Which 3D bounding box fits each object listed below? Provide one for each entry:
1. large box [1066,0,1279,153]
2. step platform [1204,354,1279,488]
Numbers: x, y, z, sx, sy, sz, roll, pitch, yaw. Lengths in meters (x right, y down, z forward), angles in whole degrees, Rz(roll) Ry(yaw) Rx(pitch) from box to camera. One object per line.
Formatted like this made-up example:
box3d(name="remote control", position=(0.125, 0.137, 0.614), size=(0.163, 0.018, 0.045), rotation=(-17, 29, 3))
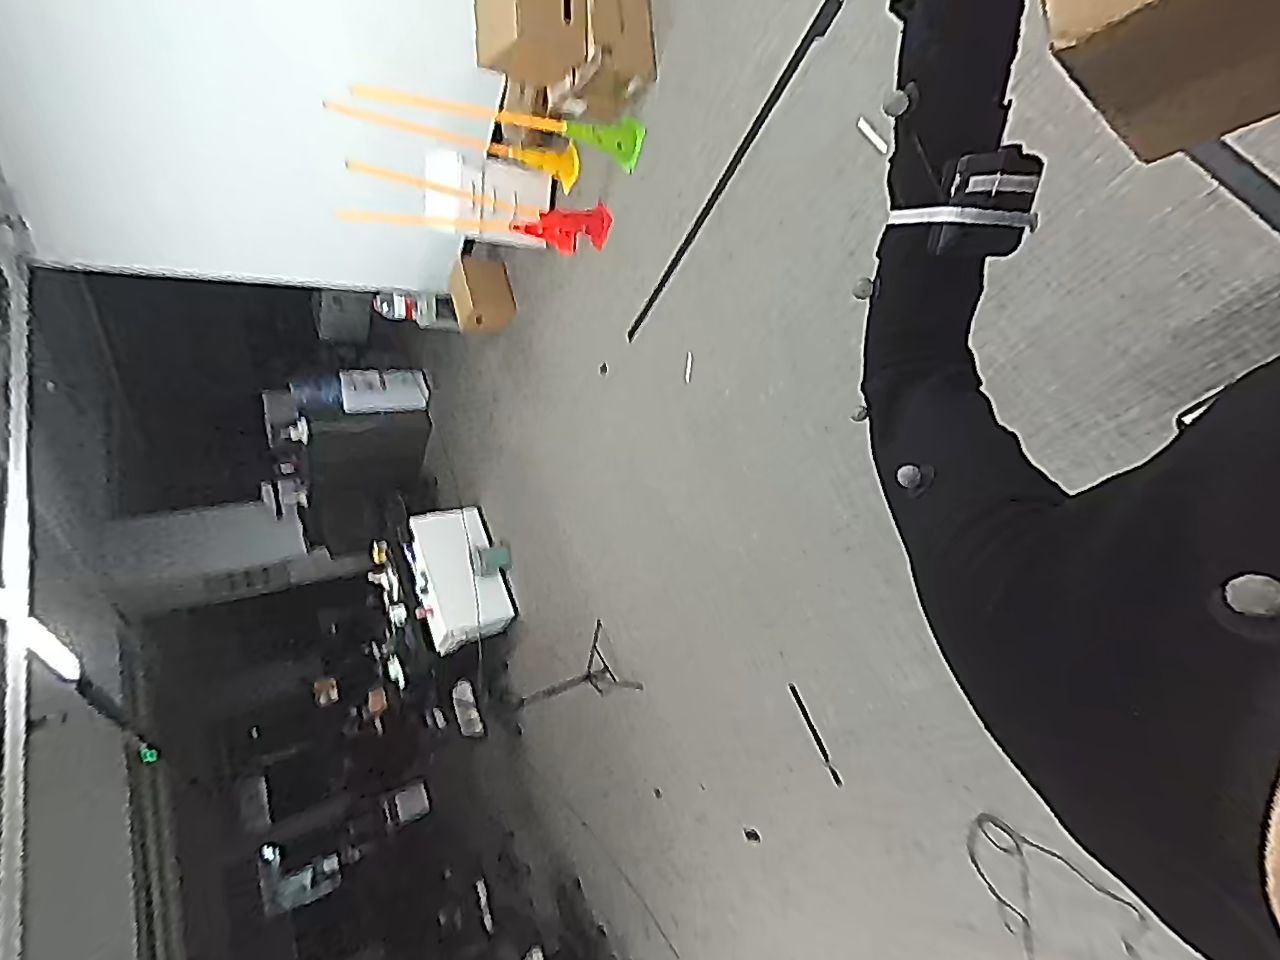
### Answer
box3d(name="large box", position=(0.461, -0.443, 0.254), size=(0.408, 0.320, 0.320), rotation=(-7, 94, 51))
box3d(name="step platform", position=(1.367, -0.231, 0.846), size=(0.684, 0.204, 0.286), rotation=(-52, 57, 44))
